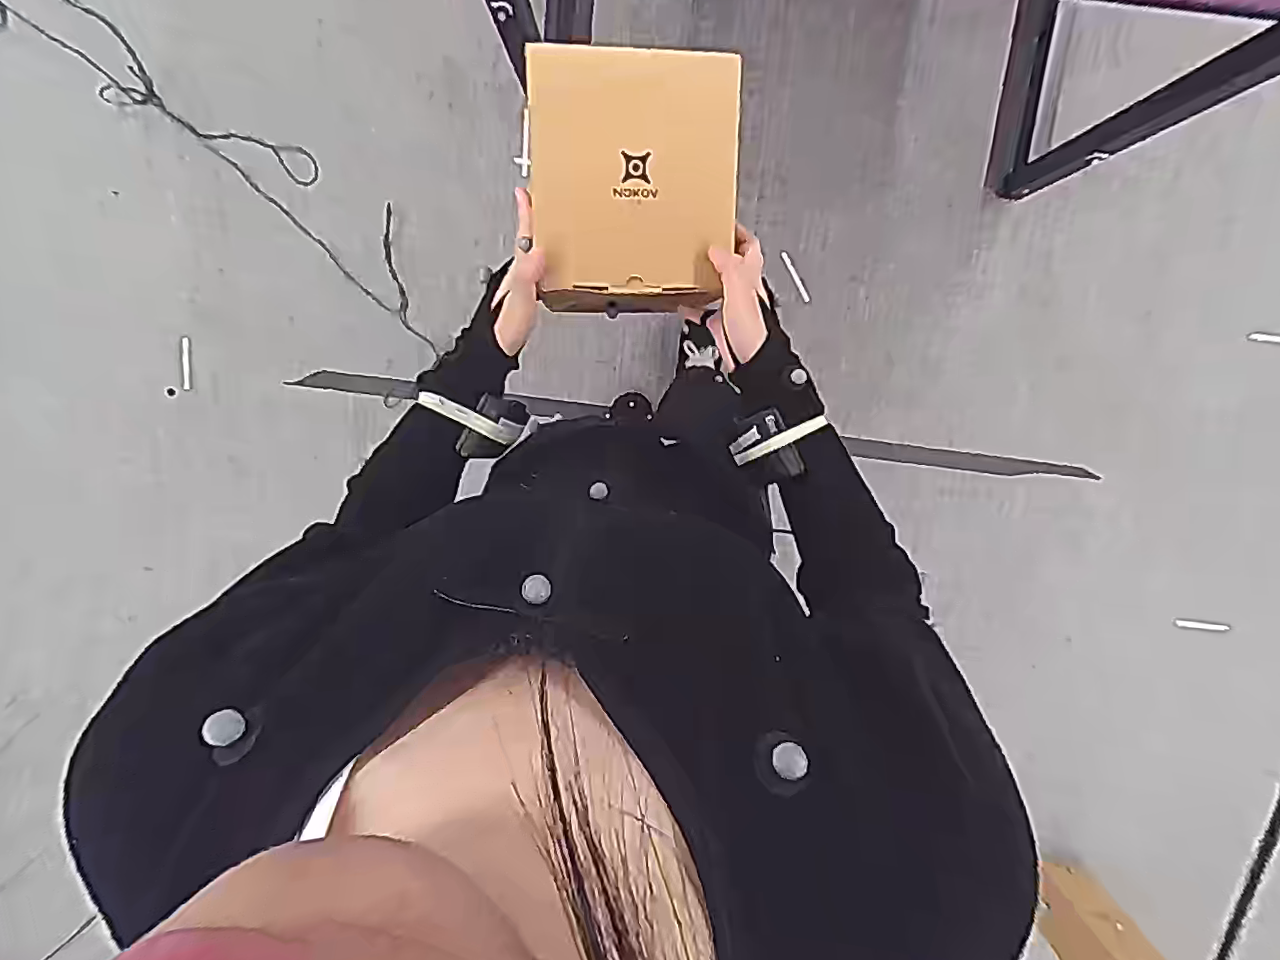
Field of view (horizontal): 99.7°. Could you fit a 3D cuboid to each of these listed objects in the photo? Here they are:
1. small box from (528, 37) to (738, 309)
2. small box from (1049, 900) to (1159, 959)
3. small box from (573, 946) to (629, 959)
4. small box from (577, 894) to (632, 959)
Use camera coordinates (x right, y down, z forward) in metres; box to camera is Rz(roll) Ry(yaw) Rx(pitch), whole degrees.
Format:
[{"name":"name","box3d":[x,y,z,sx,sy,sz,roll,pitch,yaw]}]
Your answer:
[{"name":"small box","box3d":[-0.014,-0.261,0.505,0.168,0.176,0.179,-1,102,-6]},{"name":"small box","box3d":[1.293,1.329,1.504,0.168,0.176,0.179,10,100,-2]},{"name":"small box","box3d":[-0.119,1.488,1.548,0.168,0.176,0.179,3,102,0]},{"name":"small box","box3d":[-0.112,1.457,1.710,0.168,0.176,0.179,2,102,1]}]
